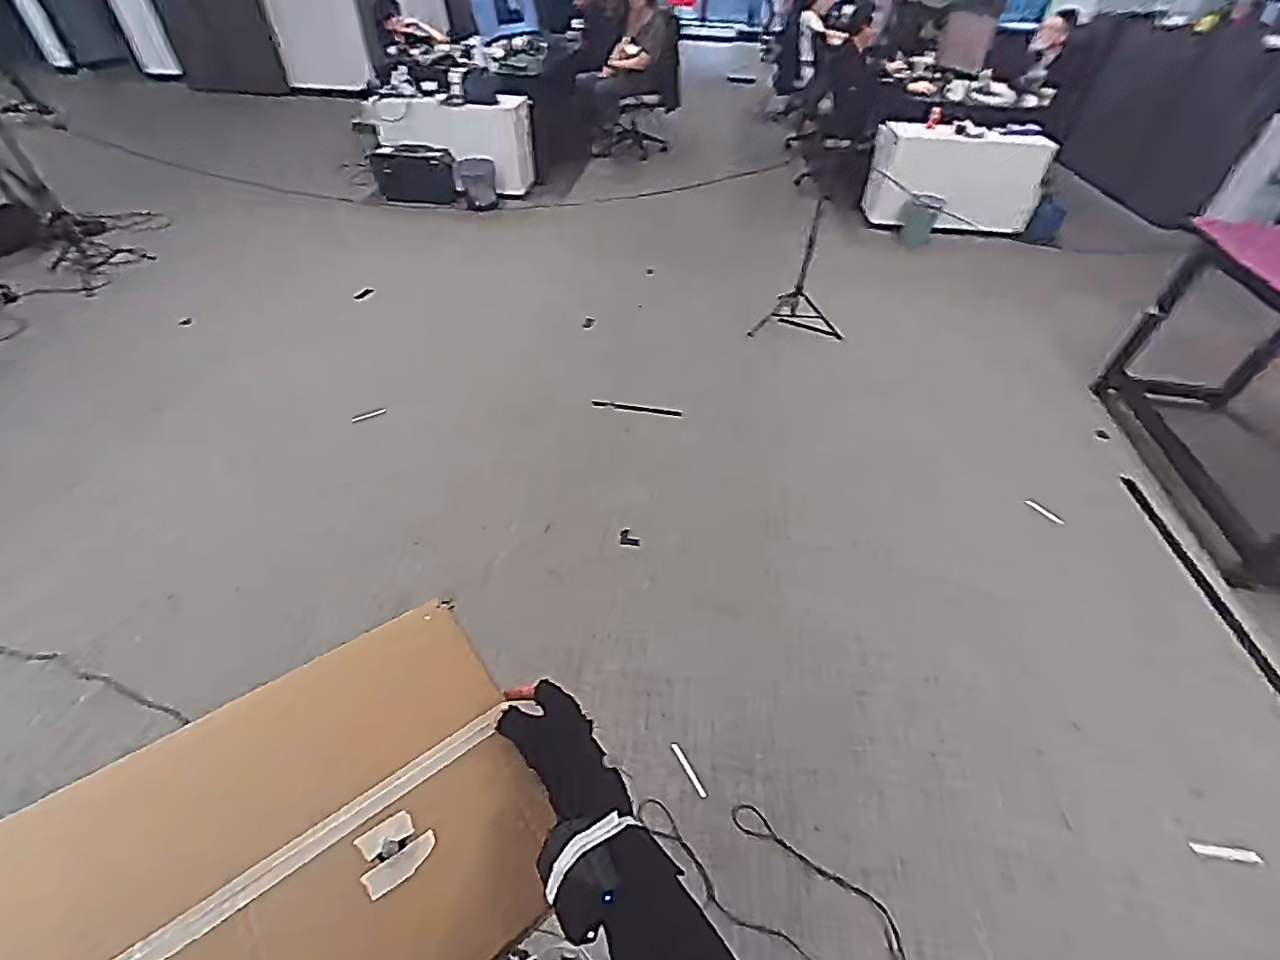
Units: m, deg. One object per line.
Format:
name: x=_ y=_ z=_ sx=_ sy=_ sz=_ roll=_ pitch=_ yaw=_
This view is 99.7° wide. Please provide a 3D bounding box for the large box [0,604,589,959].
large box: x=-0.312 y=0.416 z=0.574 sx=0.408 sy=0.320 sz=0.320 roll=-26 pitch=60 yaw=-30
